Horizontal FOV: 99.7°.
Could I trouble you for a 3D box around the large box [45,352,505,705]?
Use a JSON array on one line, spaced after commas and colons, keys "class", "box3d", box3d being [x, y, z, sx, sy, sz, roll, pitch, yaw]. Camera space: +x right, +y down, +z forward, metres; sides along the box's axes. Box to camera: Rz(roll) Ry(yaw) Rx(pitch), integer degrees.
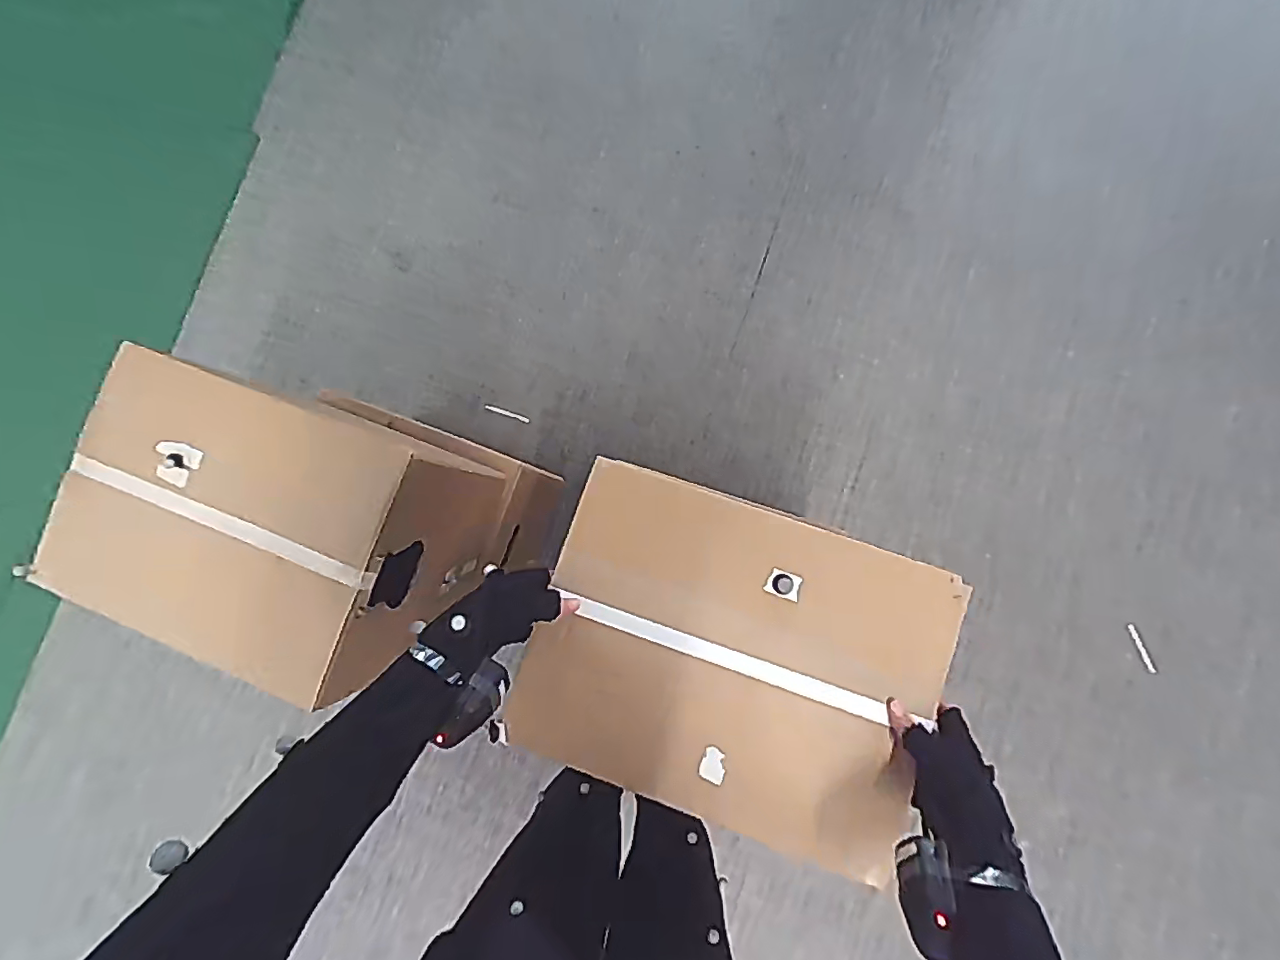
[{"class": "large box", "box3d": [-0.471, 0.058, 0.782, 0.408, 0.320, 0.320, 20, 88, 8]}]
